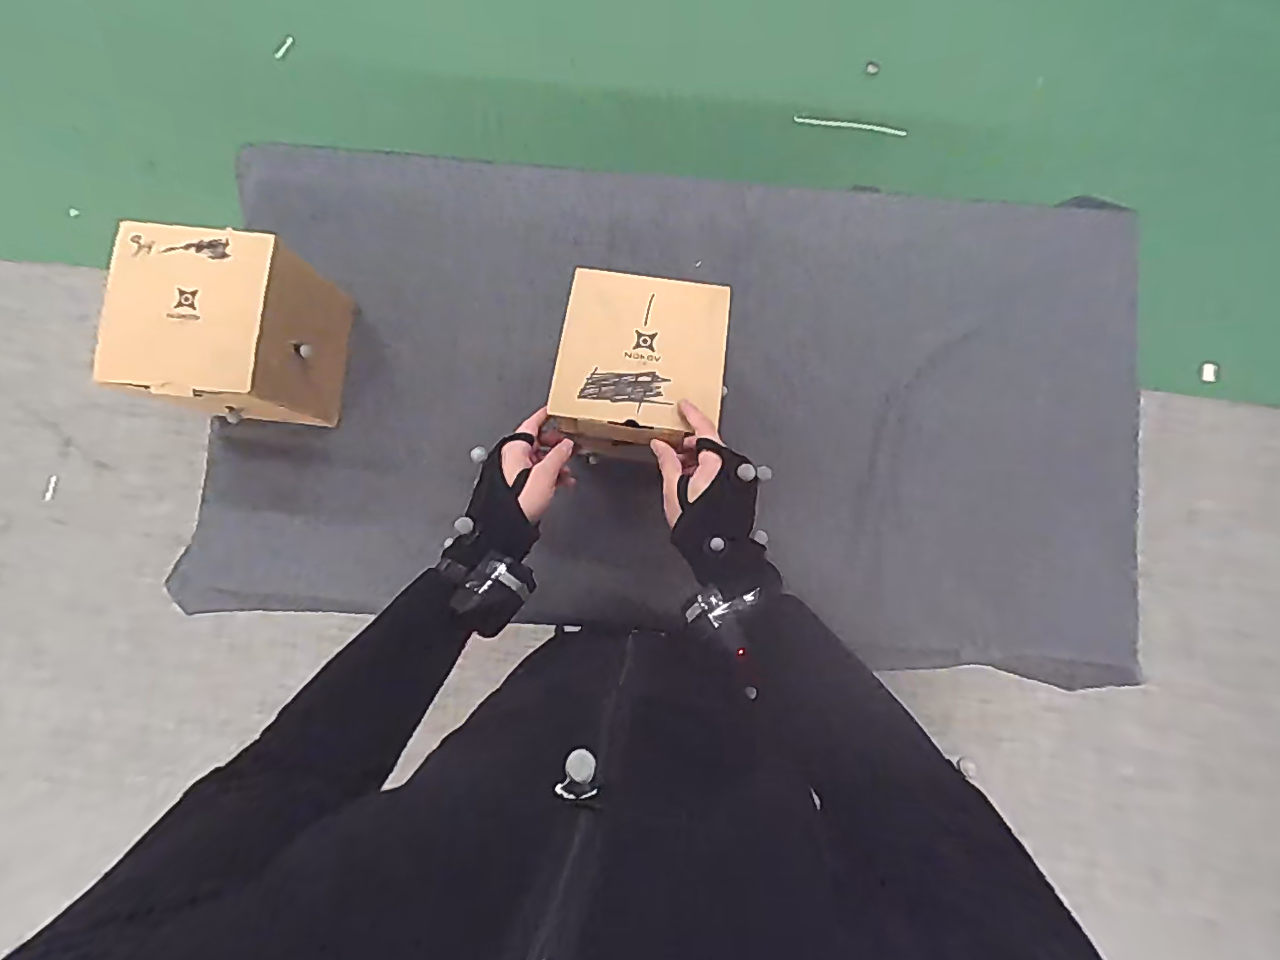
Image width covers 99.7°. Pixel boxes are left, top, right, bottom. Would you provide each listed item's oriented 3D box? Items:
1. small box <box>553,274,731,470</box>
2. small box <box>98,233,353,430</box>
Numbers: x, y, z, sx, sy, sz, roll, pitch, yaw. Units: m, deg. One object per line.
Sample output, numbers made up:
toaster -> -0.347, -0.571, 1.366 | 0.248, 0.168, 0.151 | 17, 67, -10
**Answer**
small box -> 0.005, -0.111, 0.631 | 0.168, 0.176, 0.179 | 7, 84, 1
small box -> -0.466, -0.160, 0.638 | 0.168, 0.176, 0.179 | 5, 86, -1
